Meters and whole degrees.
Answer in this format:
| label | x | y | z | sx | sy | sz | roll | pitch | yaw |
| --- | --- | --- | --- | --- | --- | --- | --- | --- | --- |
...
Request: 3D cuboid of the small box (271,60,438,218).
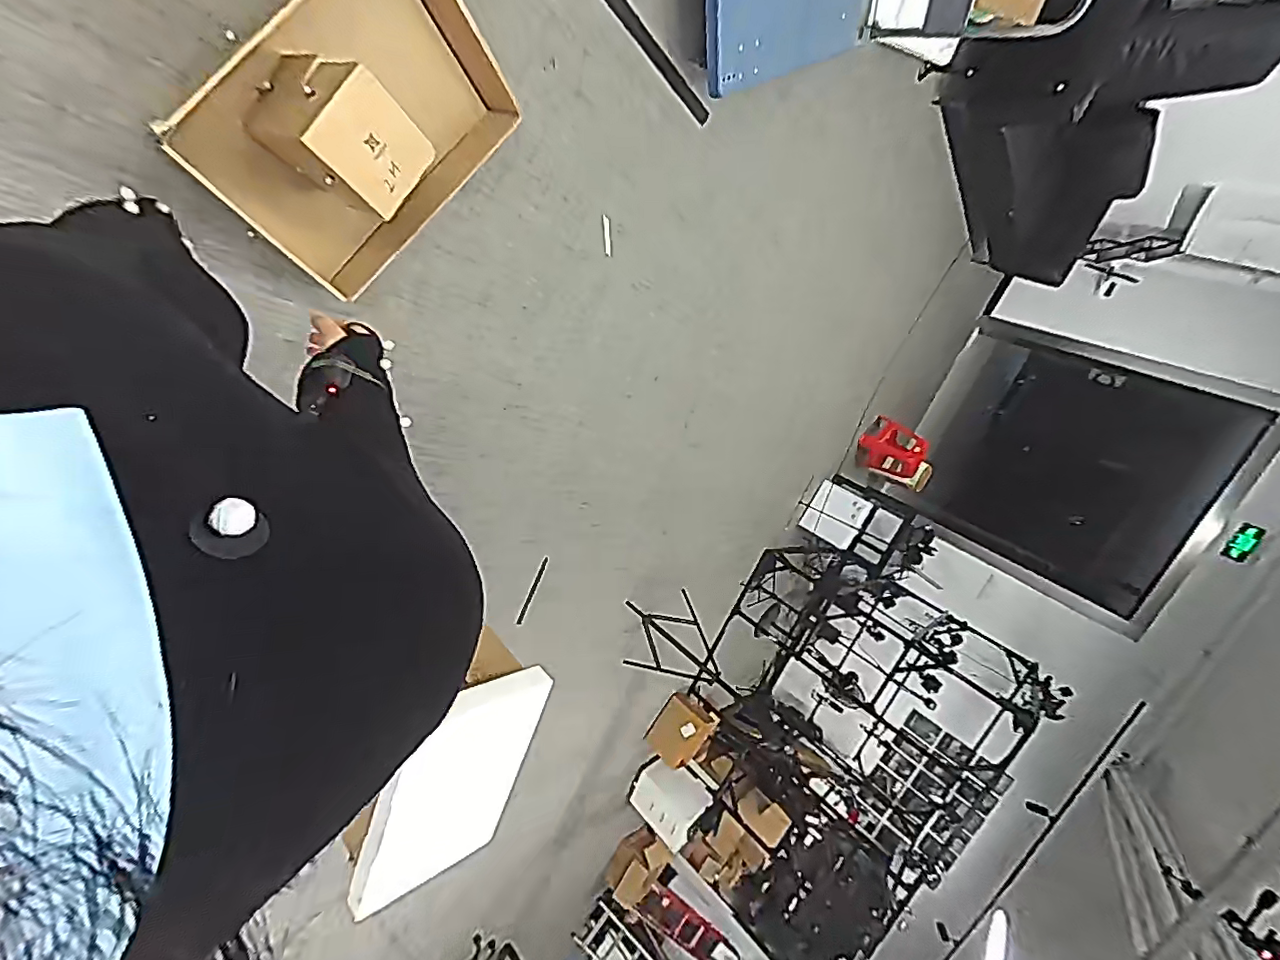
| label | x | y | z | sx | sy | sz | roll | pitch | yaw |
| --- | --- | --- | --- | --- | --- | --- | --- | --- | --- |
| small box | -0.514 | -0.609 | 0.973 | 0.168 | 0.176 | 0.179 | -56 | 148 | -5 |
